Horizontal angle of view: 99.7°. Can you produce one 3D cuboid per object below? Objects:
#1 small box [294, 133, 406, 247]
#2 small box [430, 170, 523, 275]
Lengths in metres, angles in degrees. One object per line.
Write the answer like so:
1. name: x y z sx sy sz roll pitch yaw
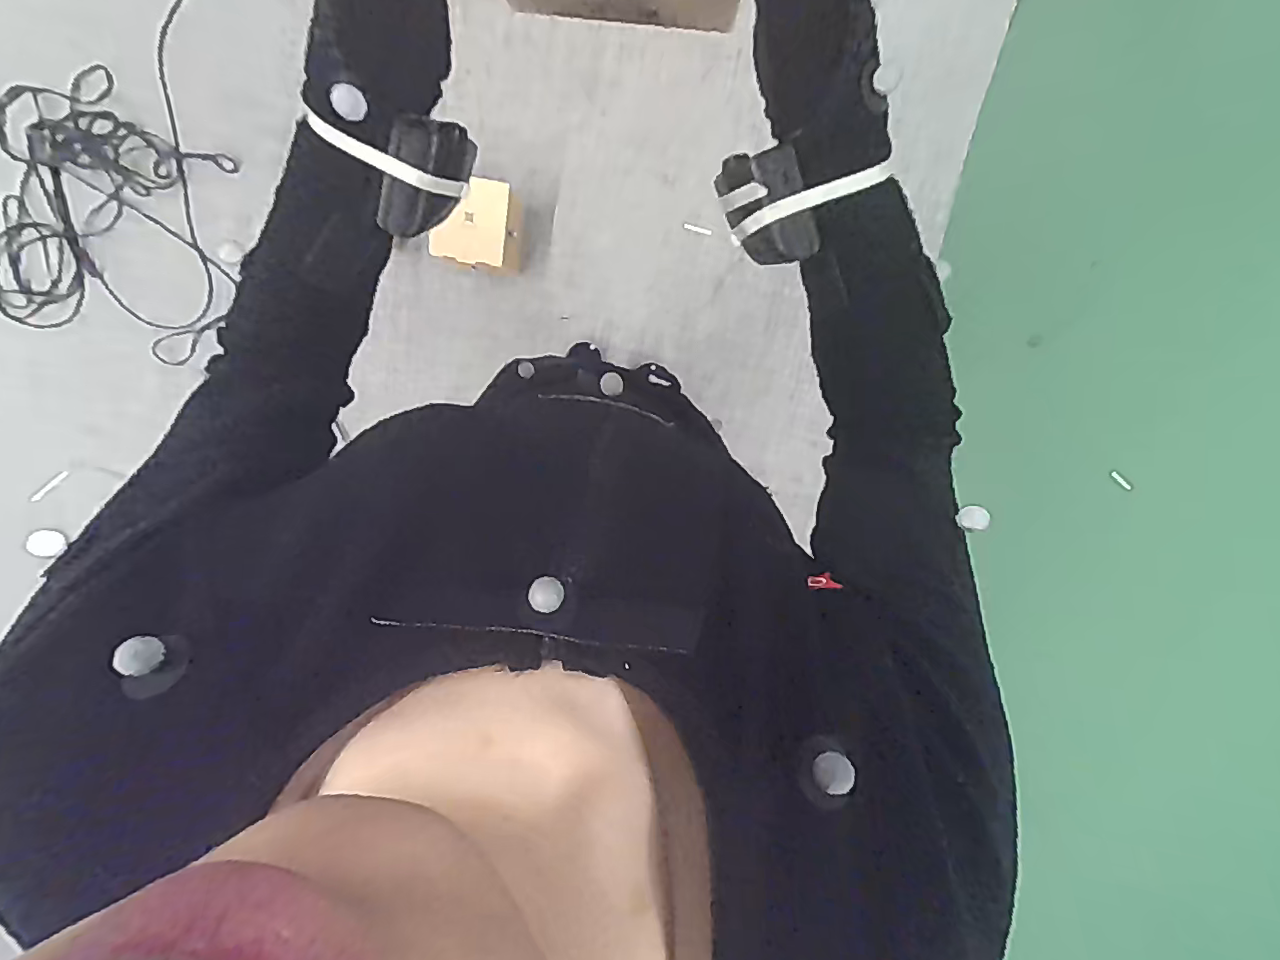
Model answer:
1. small box: -0.660 -0.655 1.247 0.168 0.176 0.179 13 102 -4
2. small box: -0.377 -0.594 1.267 0.168 0.176 0.179 9 104 -3
